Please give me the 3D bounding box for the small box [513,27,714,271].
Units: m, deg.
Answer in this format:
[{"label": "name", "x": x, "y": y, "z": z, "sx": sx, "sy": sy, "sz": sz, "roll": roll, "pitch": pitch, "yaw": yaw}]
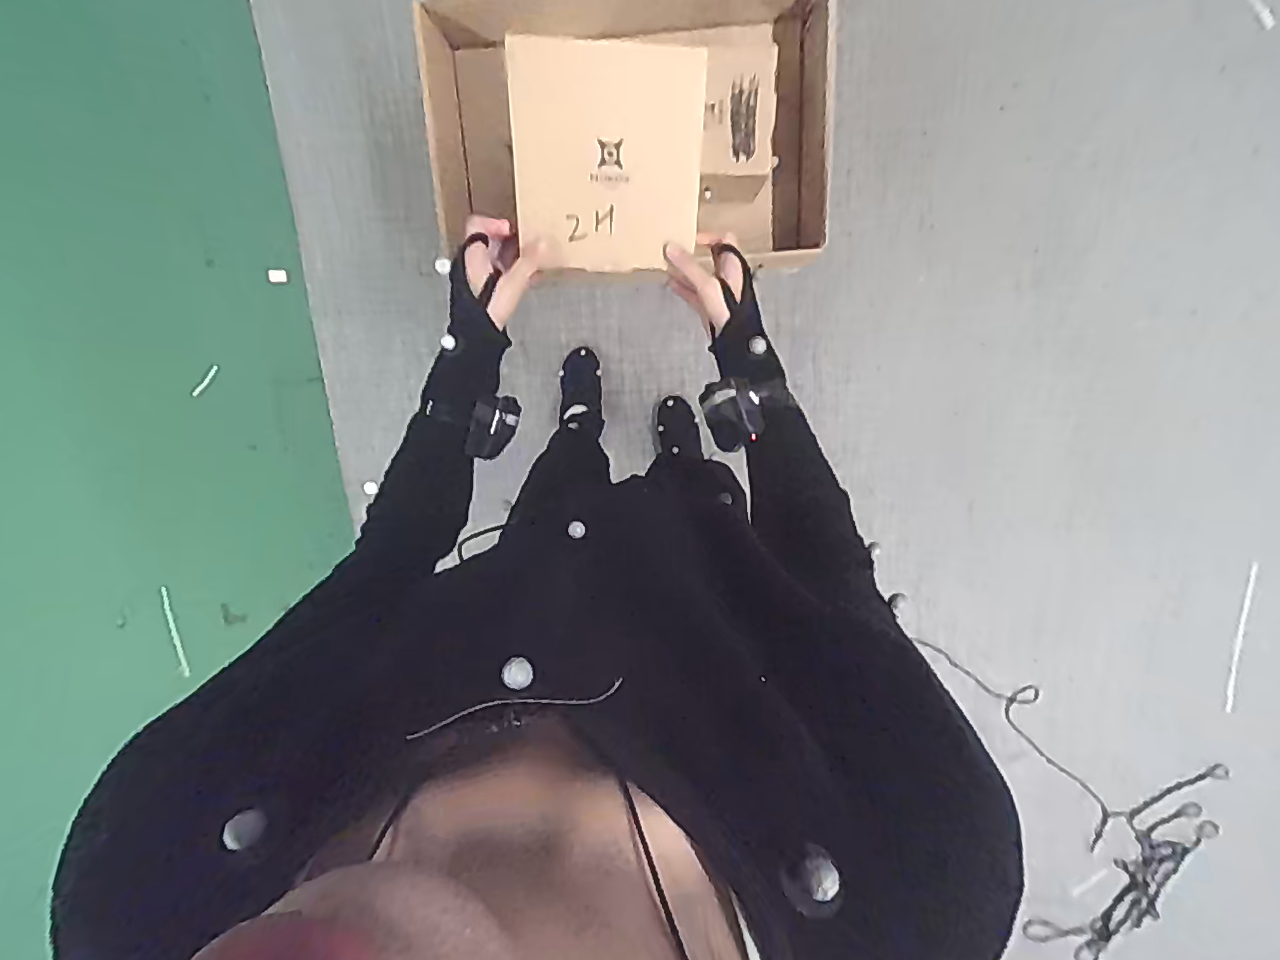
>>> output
[{"label": "small box", "x": -0.033, "y": -0.311, "z": 0.537, "sx": 0.168, "sy": 0.176, "sz": 0.179, "roll": -1, "pitch": 118, "yaw": -7}]
